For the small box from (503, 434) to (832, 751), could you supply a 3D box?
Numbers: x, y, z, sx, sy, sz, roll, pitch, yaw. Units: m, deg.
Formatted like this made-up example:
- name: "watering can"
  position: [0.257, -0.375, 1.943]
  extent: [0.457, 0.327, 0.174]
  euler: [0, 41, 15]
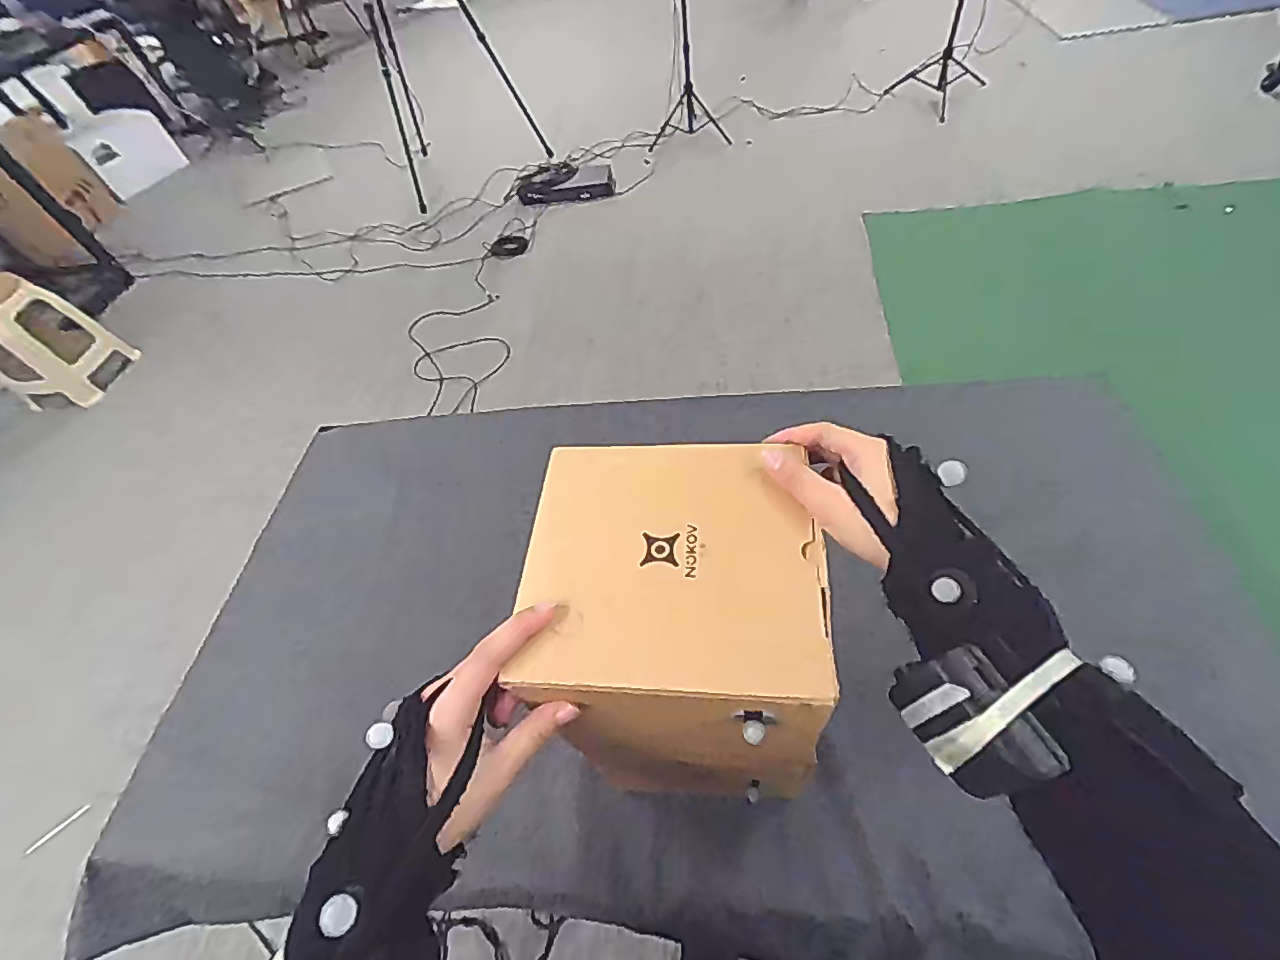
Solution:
- name: "small box"
  position: [0.029, 0.085, 0.388]
  extent: [0.179, 0.176, 0.168]
  euler: [-1, 53, 9]

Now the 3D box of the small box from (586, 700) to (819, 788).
- name: "small box"
  position: [0.061, 0.185, 0.512]
  extent: [0.179, 0.176, 0.168]
  euler: [-3, 52, 9]
